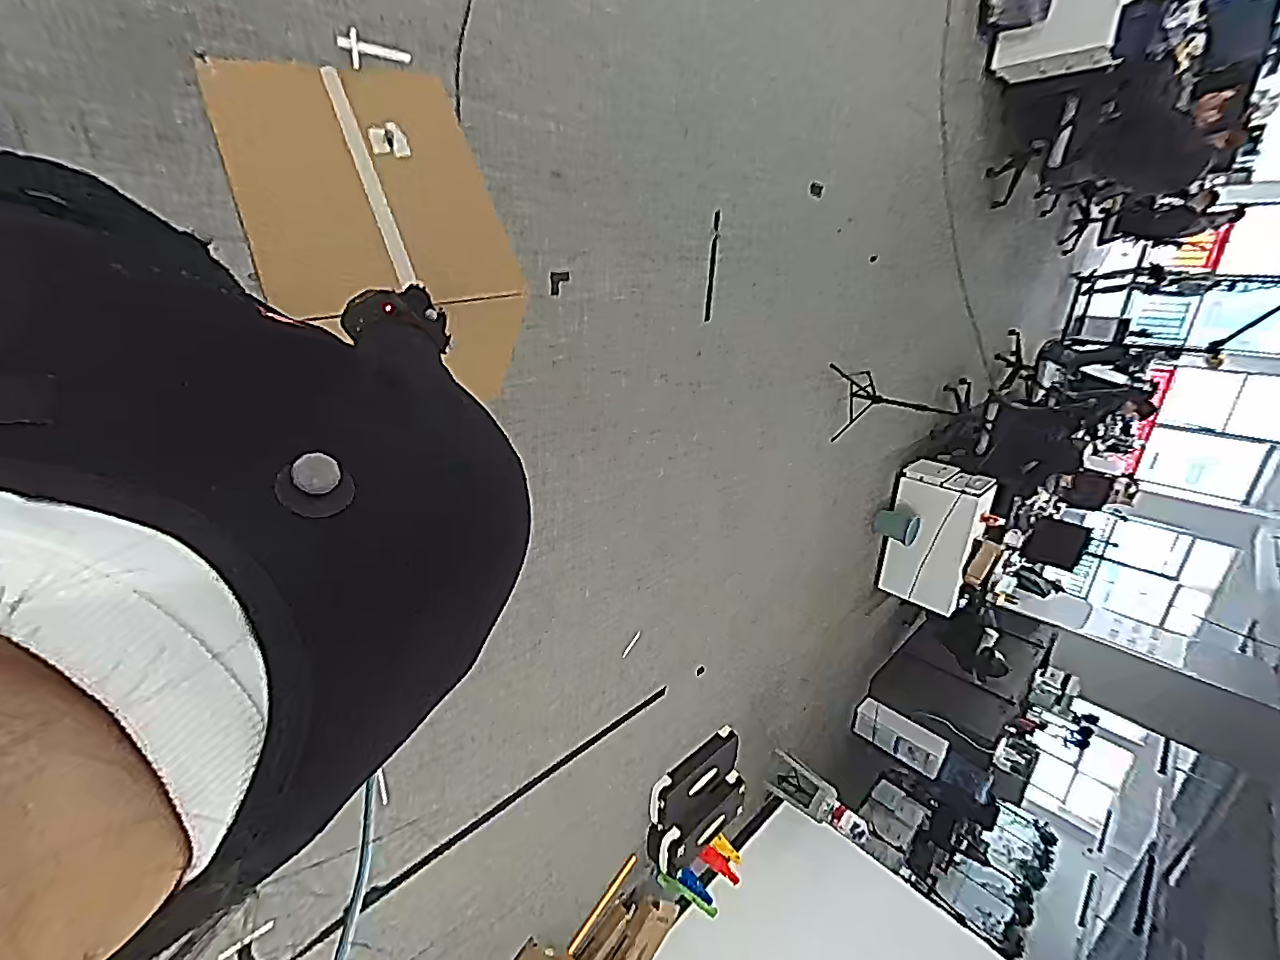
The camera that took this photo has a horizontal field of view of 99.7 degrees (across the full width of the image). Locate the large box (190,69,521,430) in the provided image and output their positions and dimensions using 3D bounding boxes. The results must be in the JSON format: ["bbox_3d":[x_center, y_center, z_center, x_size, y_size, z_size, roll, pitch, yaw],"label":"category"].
[{"bbox_3d":[-0.431,-0.348,0.865,0.320,0.320,0.408,-19,77,-30],"label":"large box"}]
